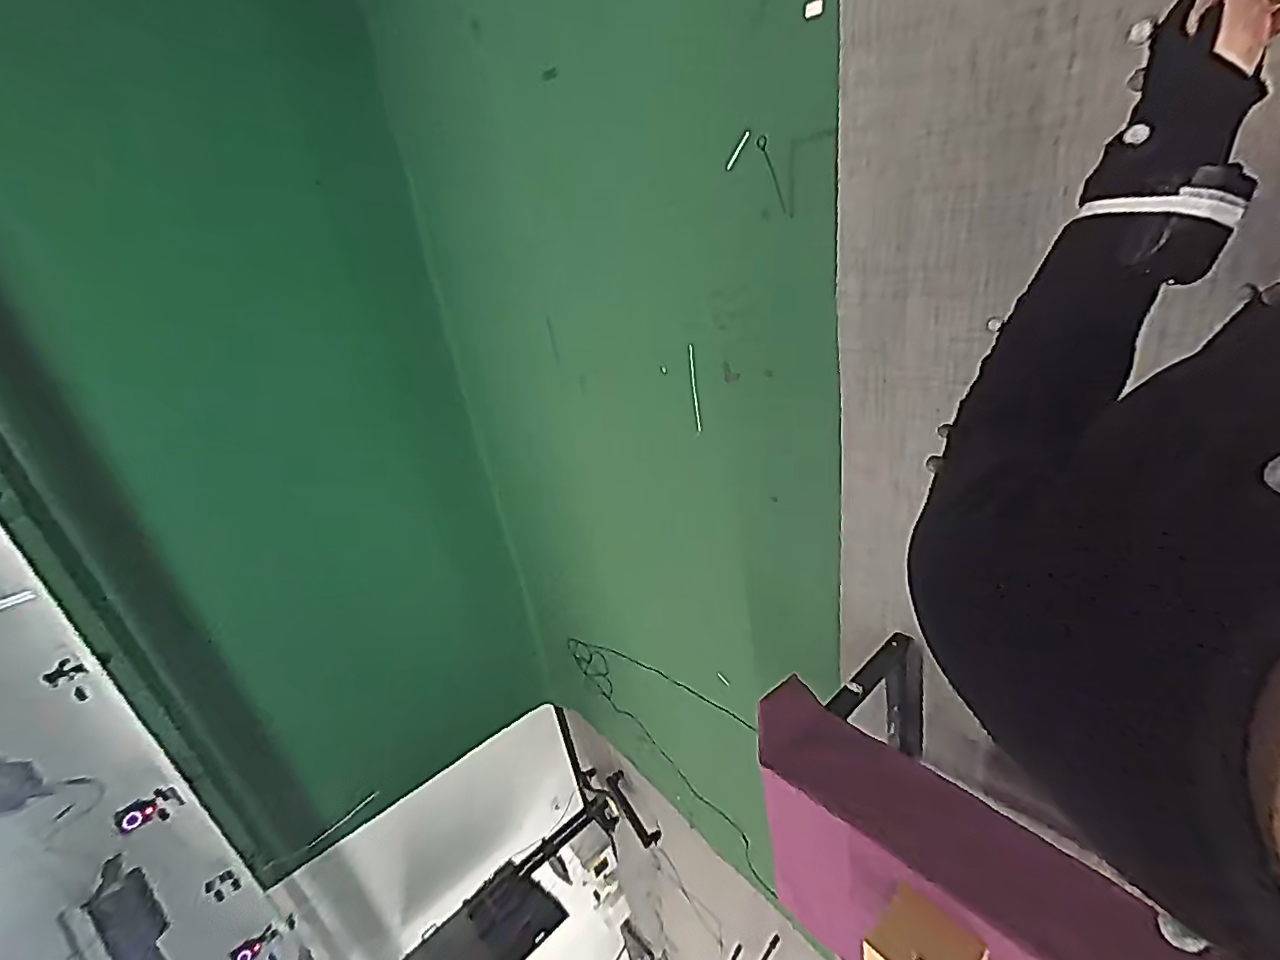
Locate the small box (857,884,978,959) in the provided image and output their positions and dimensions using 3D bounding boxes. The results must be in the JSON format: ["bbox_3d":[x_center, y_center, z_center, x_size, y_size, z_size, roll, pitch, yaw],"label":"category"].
[{"bbox_3d":[0.581,1.013,1.134,0.179,0.176,0.168,18,125,49],"label":"small box"}]
